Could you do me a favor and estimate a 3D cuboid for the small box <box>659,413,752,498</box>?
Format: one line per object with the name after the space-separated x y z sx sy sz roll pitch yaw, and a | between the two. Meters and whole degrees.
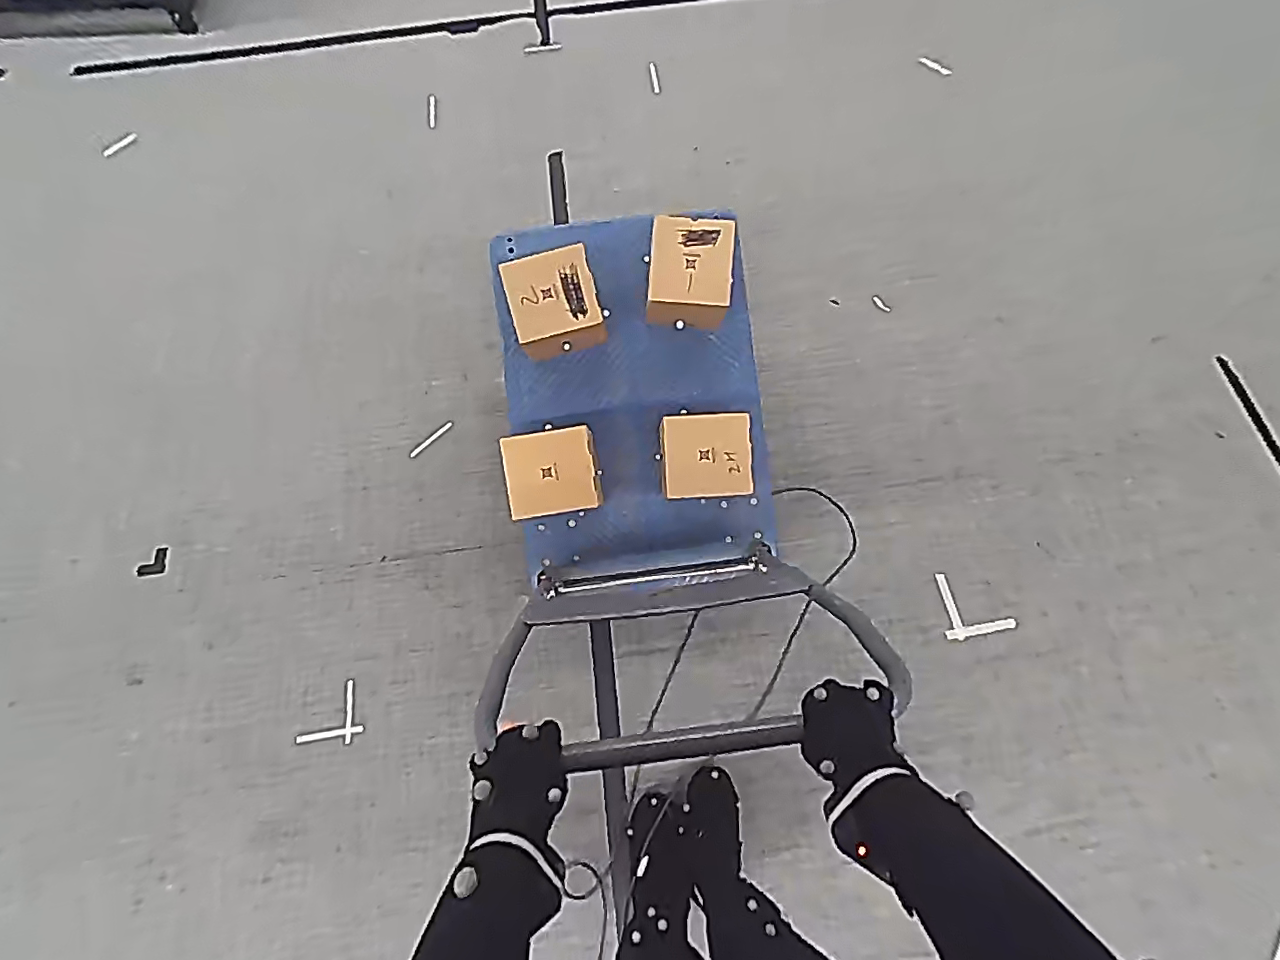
0.132 -0.047 1.154 0.179 0.176 0.168 -3 89 -2 | small box

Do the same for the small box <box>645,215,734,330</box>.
0.099 -0.437 1.160 0.168 0.176 0.179 4 90 -1 | small box

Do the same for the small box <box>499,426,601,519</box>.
-0.183 -0.012 1.146 0.179 0.176 0.168 -10 89 -3 | small box
